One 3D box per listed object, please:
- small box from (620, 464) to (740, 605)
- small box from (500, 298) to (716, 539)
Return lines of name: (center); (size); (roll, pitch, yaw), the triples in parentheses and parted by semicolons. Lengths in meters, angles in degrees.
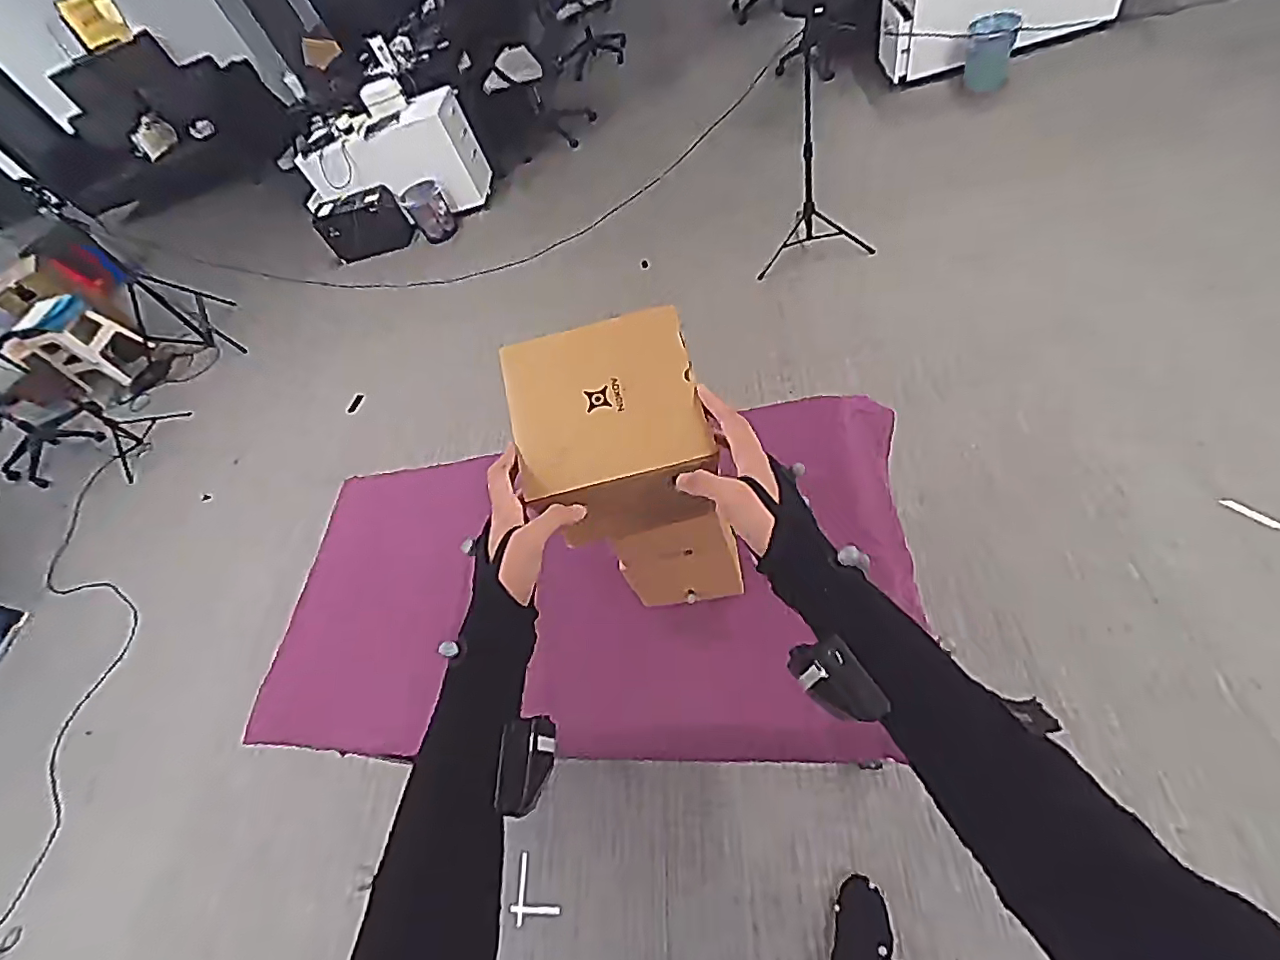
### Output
small box: (0.071, 0.098, 0.917); (0.179, 0.176, 0.168); (-11, 54, 11)
small box: (-0.025, -0.051, 0.559); (0.179, 0.176, 0.168); (-14, 67, 0)
